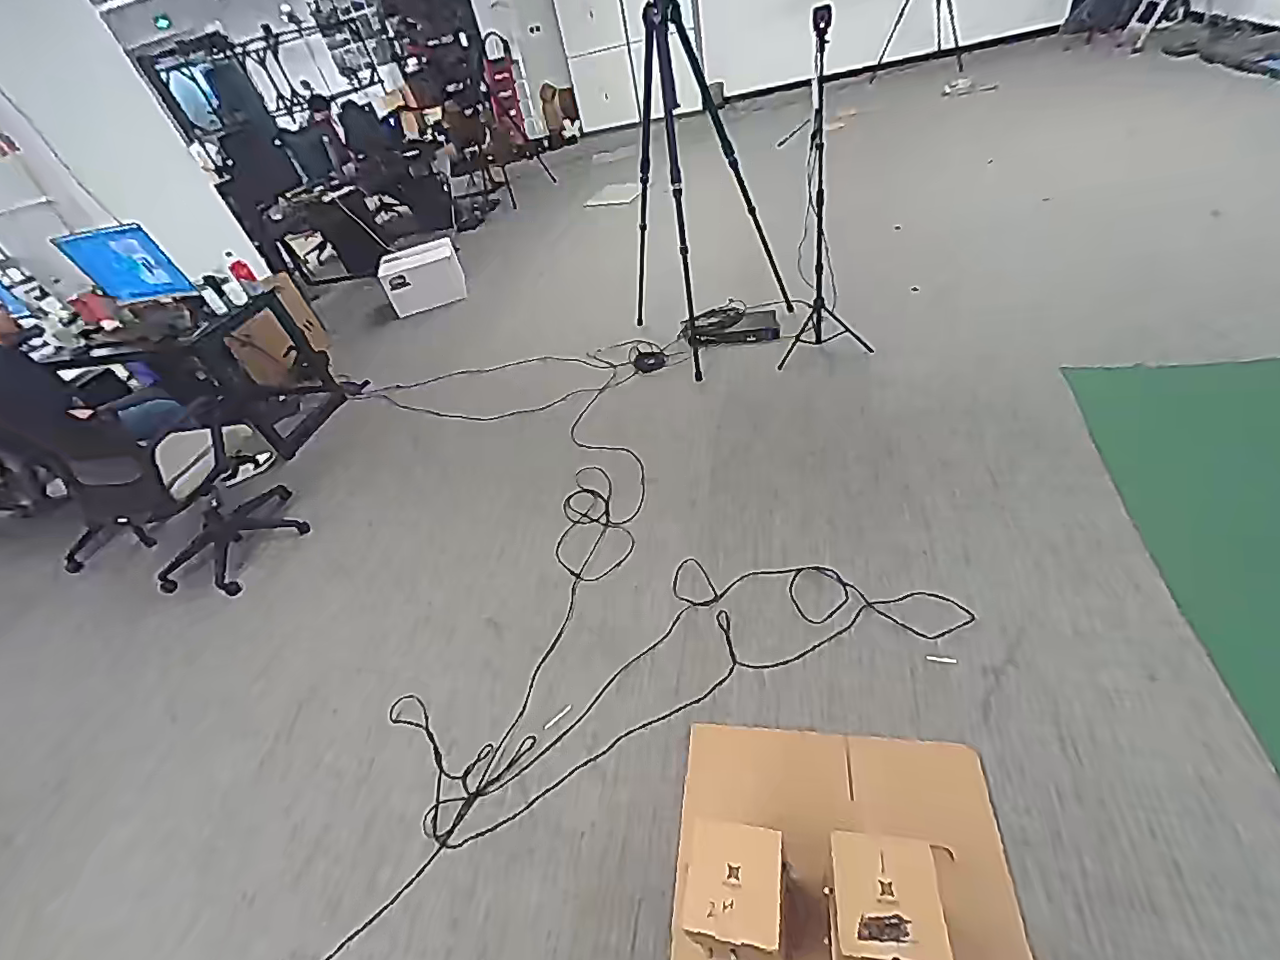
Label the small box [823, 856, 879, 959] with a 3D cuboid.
[{"bbox_3d":[0.456,0.850,1.066,0.168,0.176,0.179,-2,45,14],"label":"small box"}]

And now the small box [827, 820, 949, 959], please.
[{"bbox_3d":[0.425,0.731,0.956,0.168,0.176,0.179,-3,44,14],"label":"small box"}]

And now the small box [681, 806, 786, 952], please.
[{"bbox_3d":[0.183,0.746,1.013,0.168,0.176,0.179,-1,45,18],"label":"small box"}]
